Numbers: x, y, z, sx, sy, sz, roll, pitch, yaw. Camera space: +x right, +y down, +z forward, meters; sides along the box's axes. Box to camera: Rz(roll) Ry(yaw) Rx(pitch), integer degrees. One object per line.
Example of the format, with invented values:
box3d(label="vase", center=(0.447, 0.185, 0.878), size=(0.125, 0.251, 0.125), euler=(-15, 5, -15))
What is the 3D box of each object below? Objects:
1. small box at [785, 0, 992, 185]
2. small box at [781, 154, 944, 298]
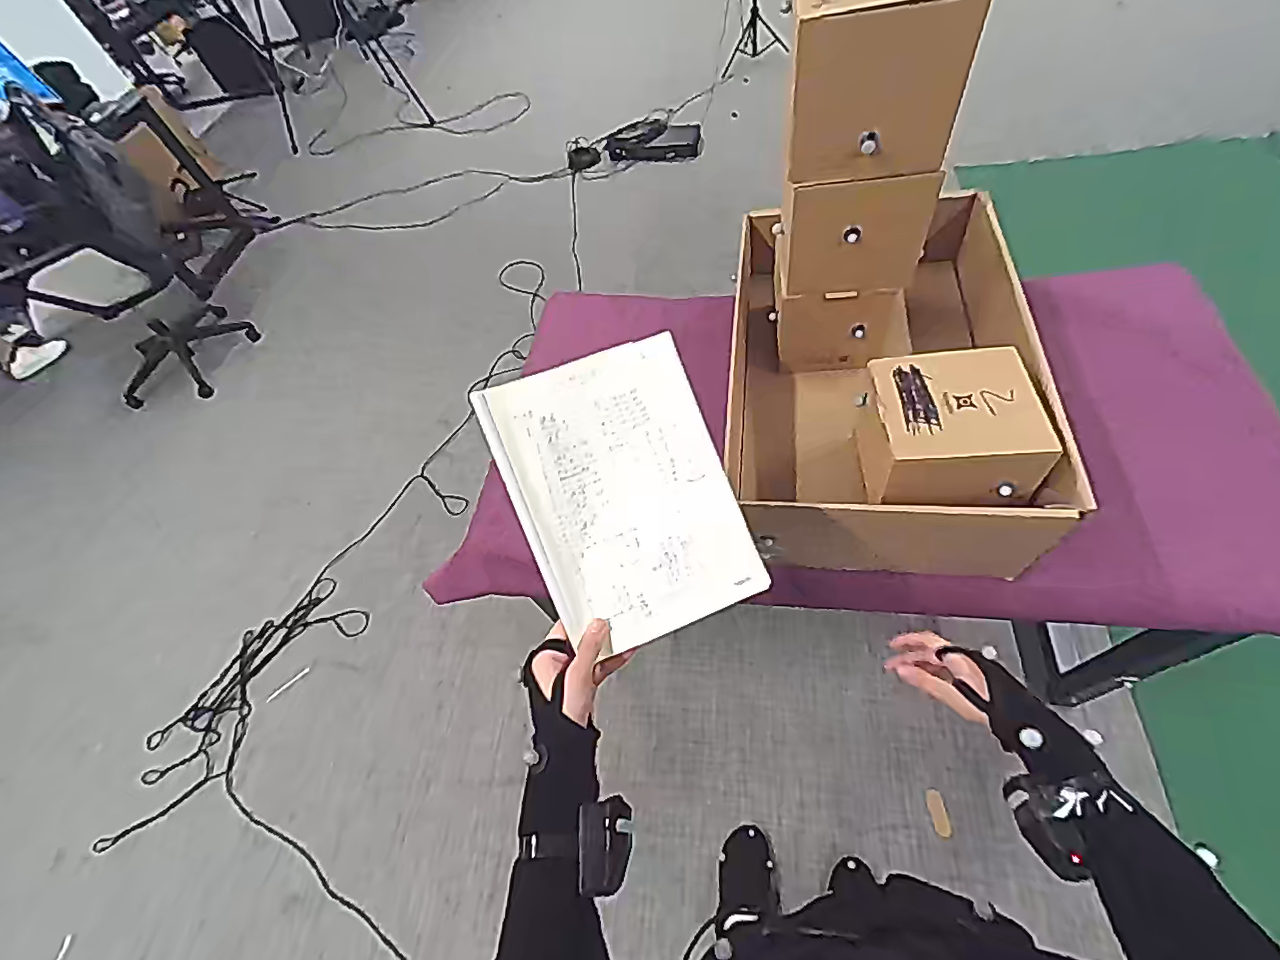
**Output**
box3d(label="small box", center=(0.265, -0.470, 0.625), size=(0.179, 0.176, 0.168), euler=(2, 58, 11))
box3d(label="small box", center=(0.295, -0.379, 0.759), size=(0.179, 0.176, 0.168), euler=(-1, 57, 11))
